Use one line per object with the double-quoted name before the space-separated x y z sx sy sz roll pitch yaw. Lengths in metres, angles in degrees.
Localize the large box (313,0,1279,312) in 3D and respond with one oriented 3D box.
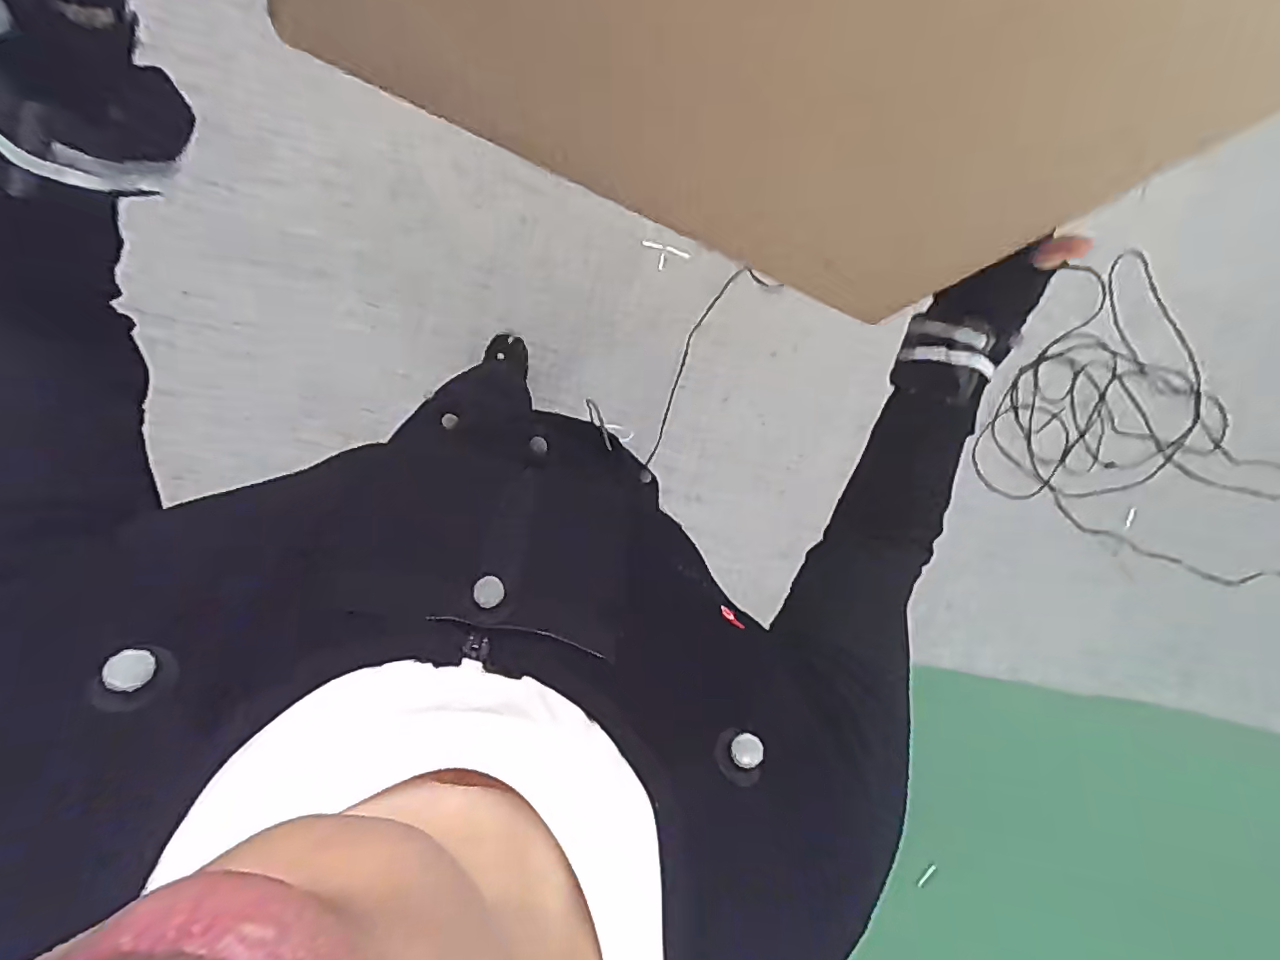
"large box" 0.106 -0.332 0.250 0.408 0.320 0.320 8 73 -37
